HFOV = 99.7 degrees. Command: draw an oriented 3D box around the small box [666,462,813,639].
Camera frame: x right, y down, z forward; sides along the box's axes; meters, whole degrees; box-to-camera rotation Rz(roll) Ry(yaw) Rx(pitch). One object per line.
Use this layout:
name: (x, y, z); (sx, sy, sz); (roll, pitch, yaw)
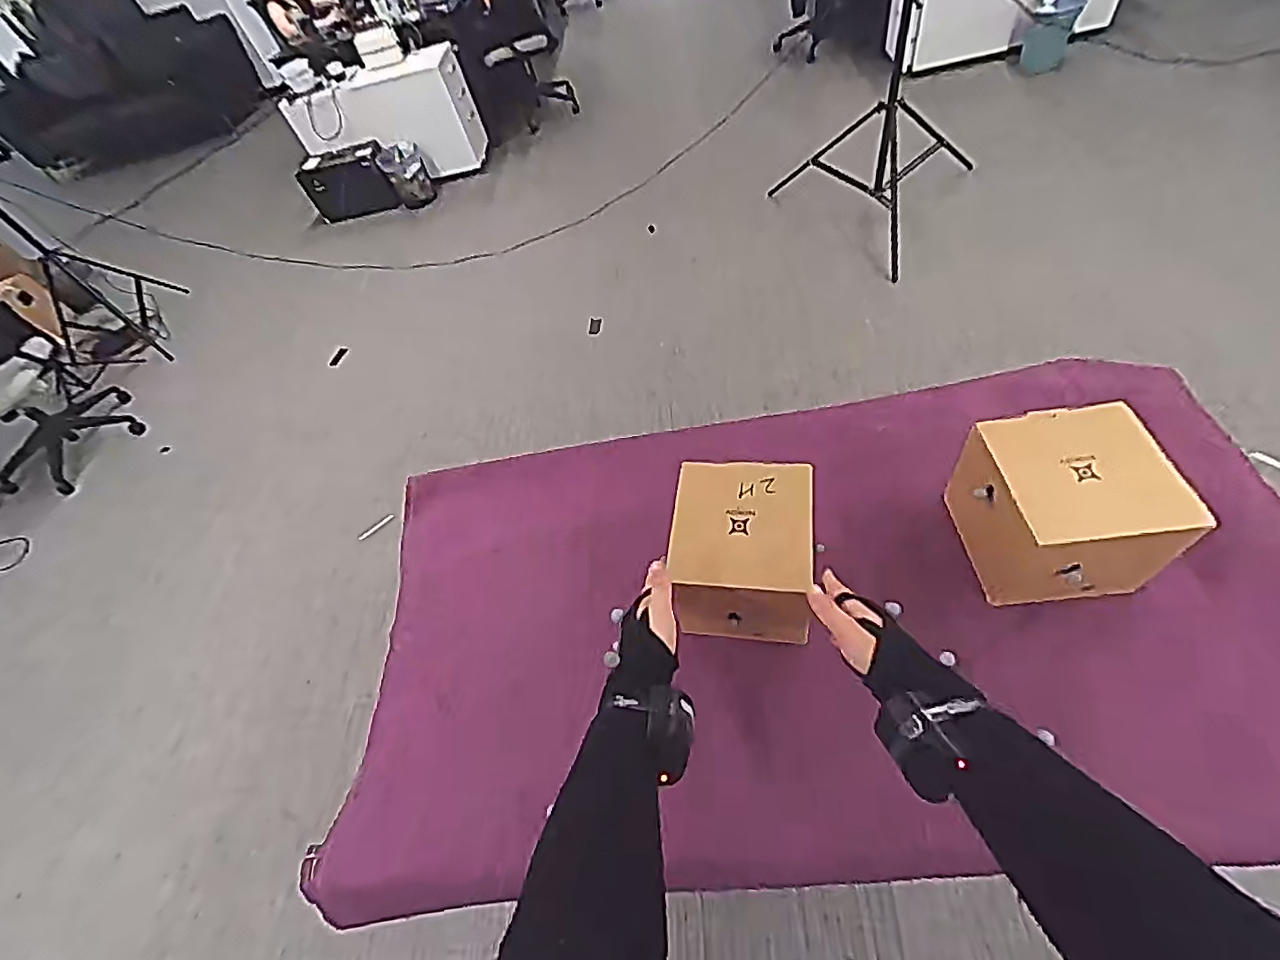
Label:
small box: (0.138, 0.095, 0.712); (0.168, 0.176, 0.179); (2, 55, 15)

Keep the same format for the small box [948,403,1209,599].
small box: (0.508, 0.036, 0.665); (0.168, 0.176, 0.179); (-8, 52, 9)
